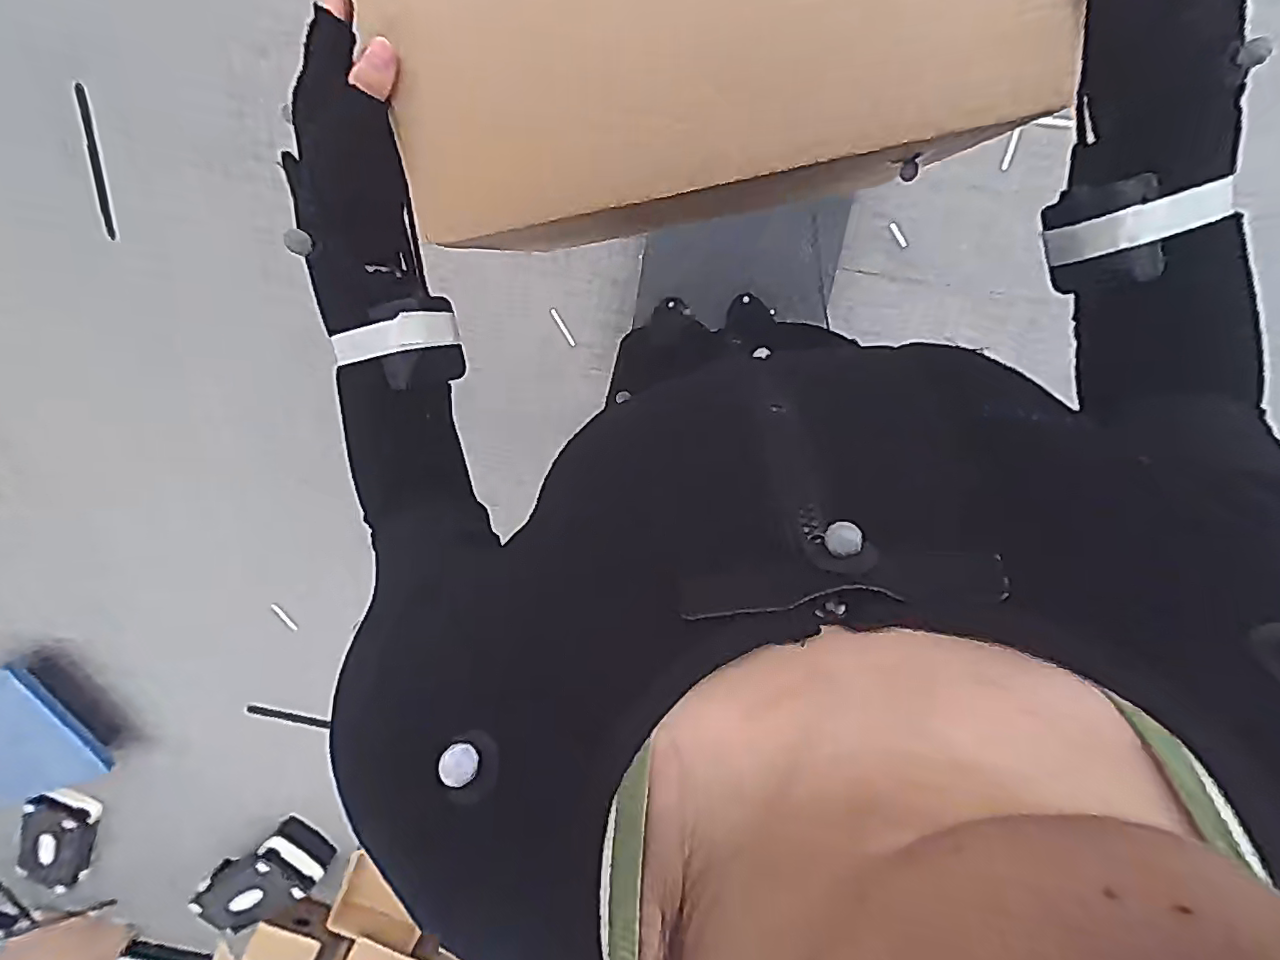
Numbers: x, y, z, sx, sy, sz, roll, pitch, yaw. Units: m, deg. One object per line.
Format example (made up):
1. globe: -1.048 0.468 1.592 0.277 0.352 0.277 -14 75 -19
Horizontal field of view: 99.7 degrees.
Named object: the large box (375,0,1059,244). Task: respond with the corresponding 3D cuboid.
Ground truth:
1. large box: 0.041 -0.392 0.437 0.408 0.320 0.320 -8 111 8
